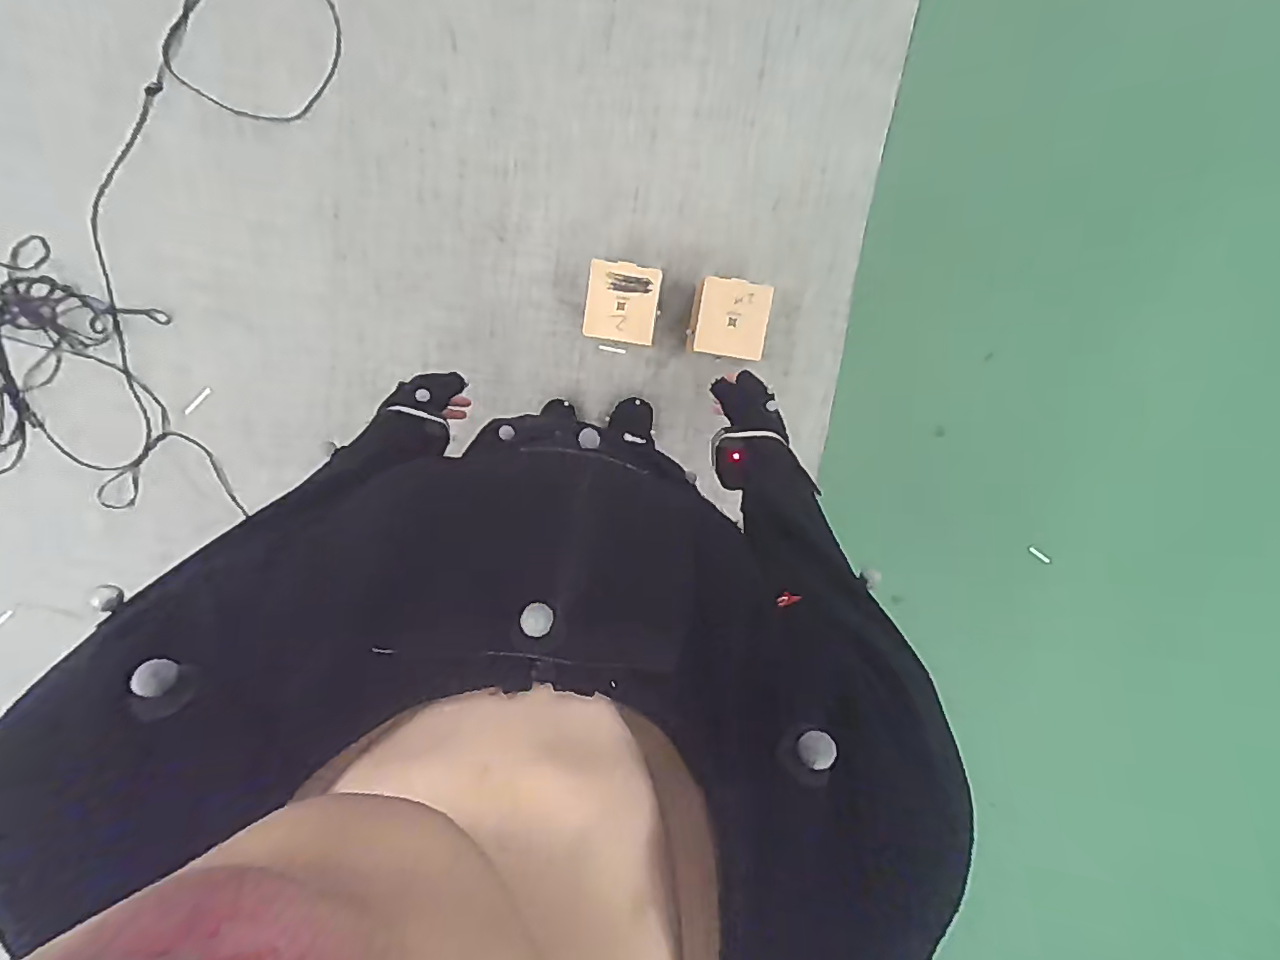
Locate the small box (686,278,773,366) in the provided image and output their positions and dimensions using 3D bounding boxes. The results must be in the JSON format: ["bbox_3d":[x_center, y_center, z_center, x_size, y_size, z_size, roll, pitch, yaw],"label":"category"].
[{"bbox_3d":[0.213,-0.382,1.336,0.168,0.176,0.179,8,99,-4],"label":"small box"}]
